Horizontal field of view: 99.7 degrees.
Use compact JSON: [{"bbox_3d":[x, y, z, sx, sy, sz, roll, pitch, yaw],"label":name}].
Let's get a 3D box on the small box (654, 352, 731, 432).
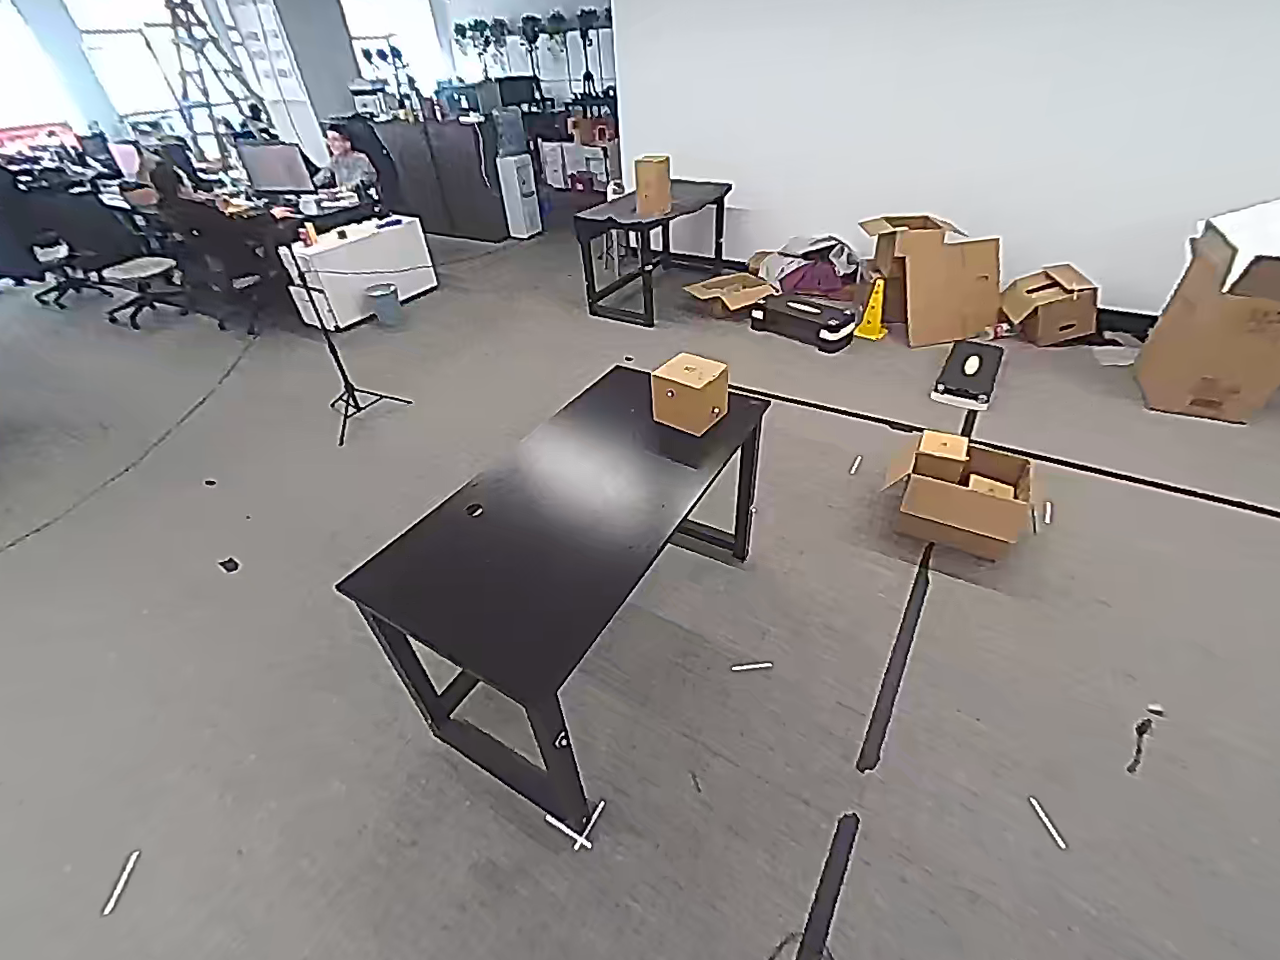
[{"bbox_3d":[0.161,-0.271,1.664,0.179,0.176,0.168,25,49,31],"label":"small box"}]
